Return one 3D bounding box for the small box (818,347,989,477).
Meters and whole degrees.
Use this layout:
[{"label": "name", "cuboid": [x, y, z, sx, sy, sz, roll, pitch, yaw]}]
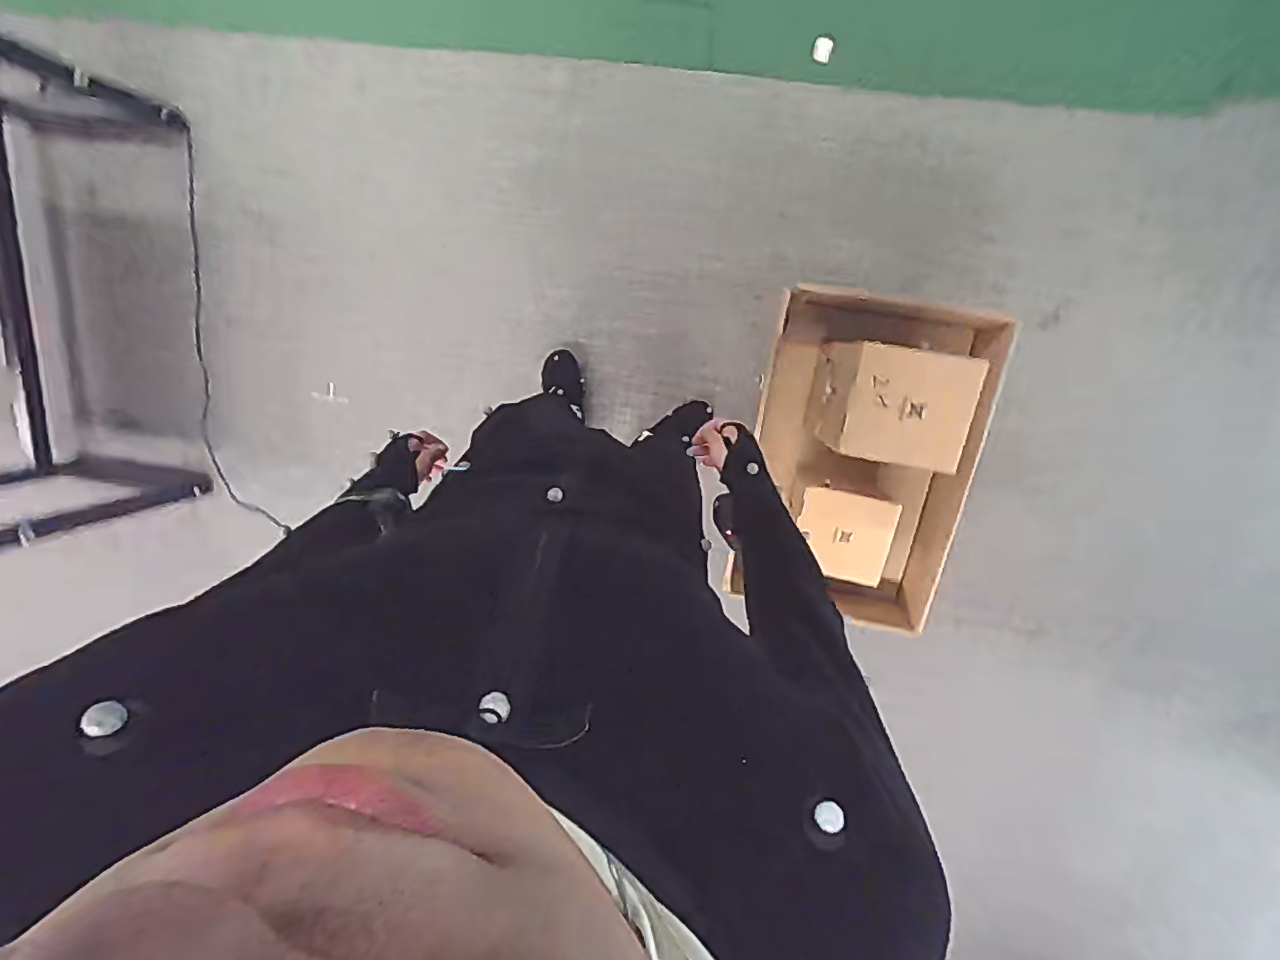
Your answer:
[{"label": "small box", "cuboid": [0.403, -0.116, 0.861, 0.179, 0.176, 0.168, 11, 104, 5]}]
